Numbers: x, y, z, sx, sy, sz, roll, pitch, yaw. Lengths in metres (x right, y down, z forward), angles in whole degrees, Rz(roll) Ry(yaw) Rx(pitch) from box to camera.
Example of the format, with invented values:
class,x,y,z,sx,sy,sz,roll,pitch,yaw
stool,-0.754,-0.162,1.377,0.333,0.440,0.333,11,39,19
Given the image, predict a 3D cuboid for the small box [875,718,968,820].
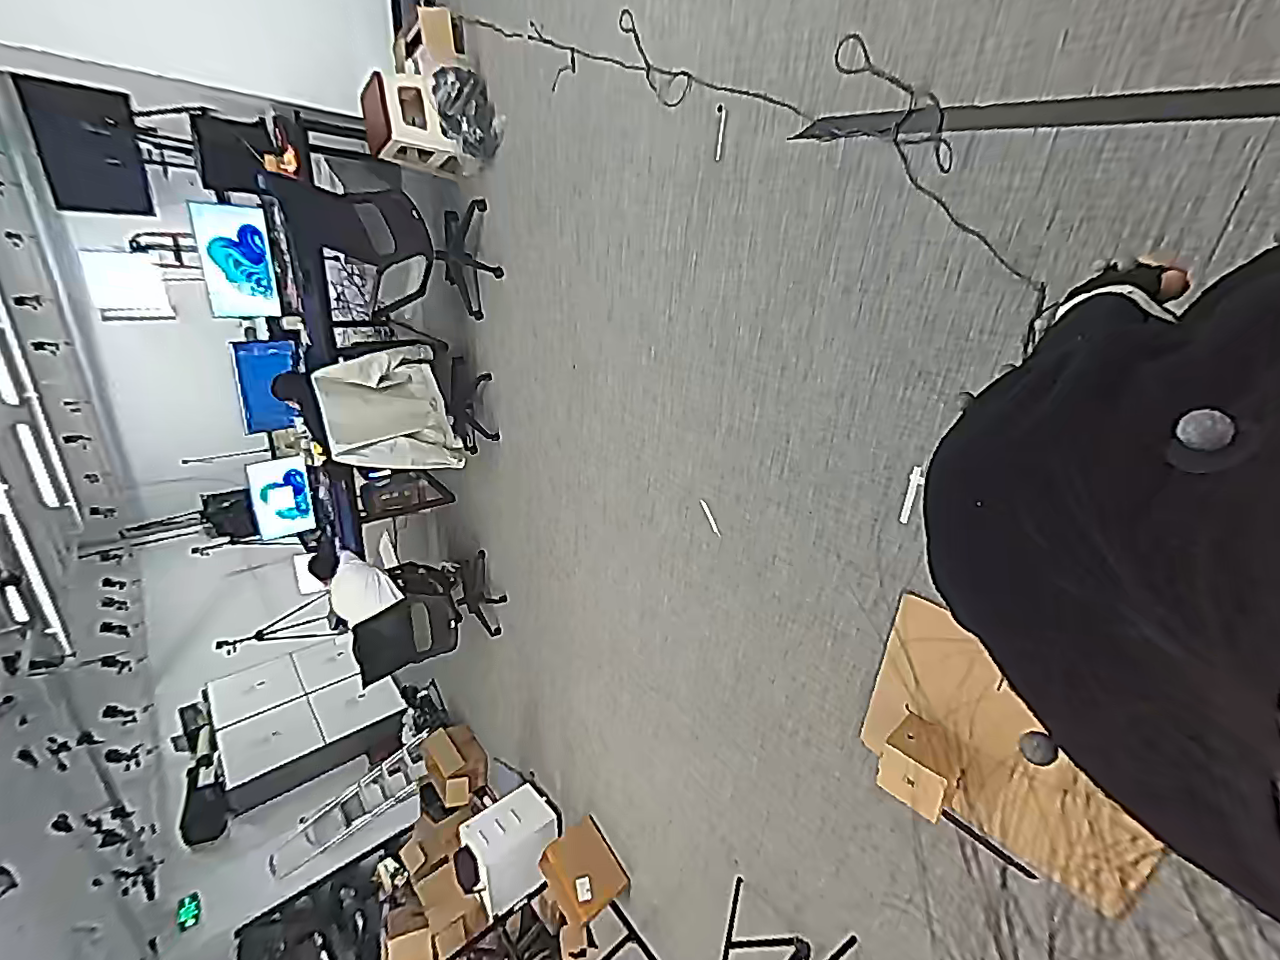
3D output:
class,x,y,z,sx,sy,sz,roll,pitch,yaw
small box,0.823,0.830,1.580,0.179,0.176,0.168,21,119,44
